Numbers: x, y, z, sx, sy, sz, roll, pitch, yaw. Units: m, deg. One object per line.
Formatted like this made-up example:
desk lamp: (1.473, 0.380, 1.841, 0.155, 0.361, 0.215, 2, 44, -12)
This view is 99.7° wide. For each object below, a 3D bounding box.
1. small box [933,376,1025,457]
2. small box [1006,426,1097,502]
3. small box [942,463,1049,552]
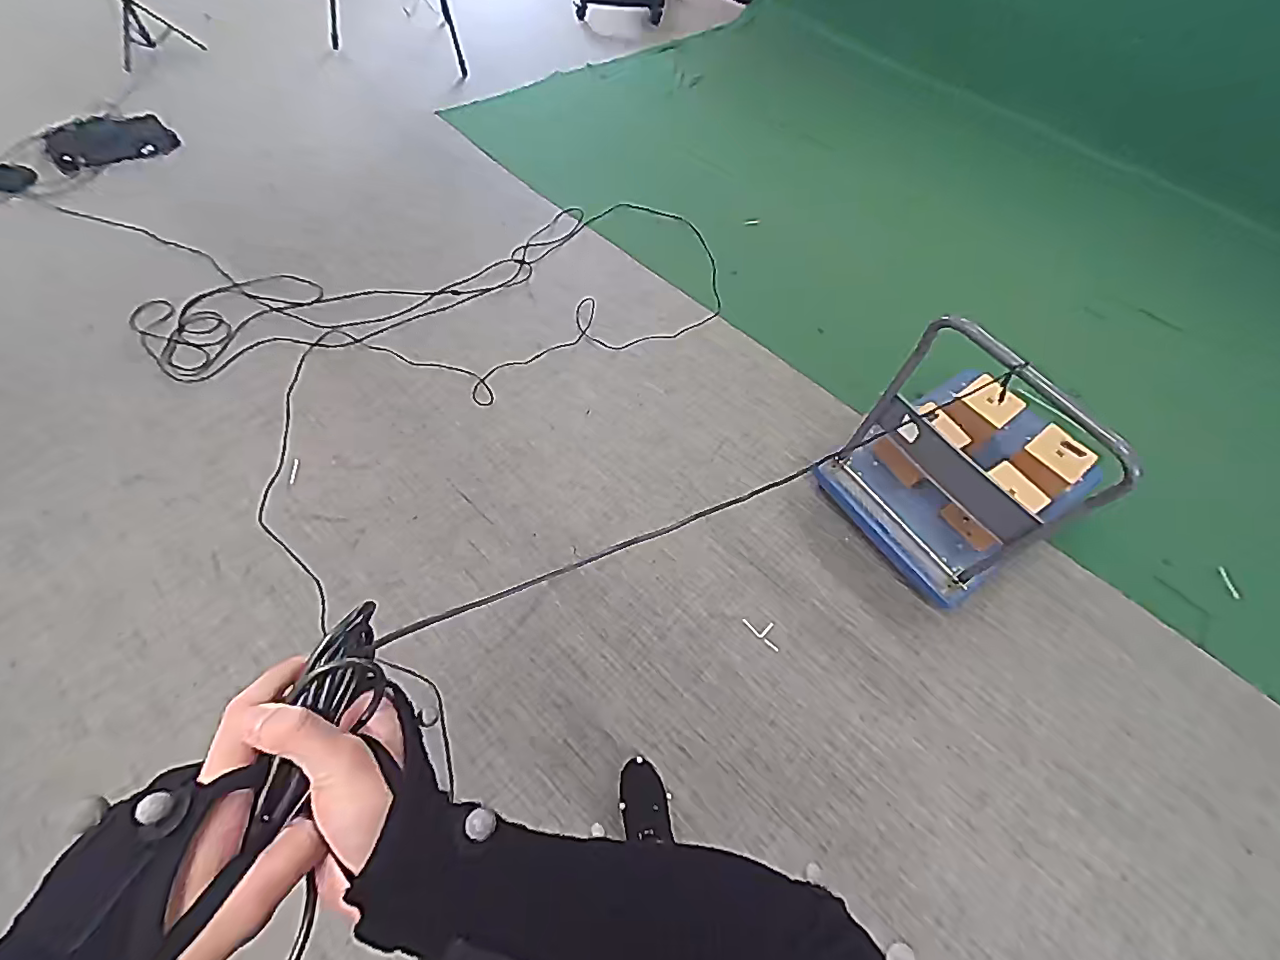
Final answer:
small box: (1.125, -0.209, 1.816, 0.179, 0.176, 0.168, -32, 67, -23)
small box: (1.281, -0.035, 1.722, 0.179, 0.176, 0.168, -32, 65, -22)
small box: (1.058, 0.086, 1.625, 0.179, 0.176, 0.168, -27, 65, -21)
